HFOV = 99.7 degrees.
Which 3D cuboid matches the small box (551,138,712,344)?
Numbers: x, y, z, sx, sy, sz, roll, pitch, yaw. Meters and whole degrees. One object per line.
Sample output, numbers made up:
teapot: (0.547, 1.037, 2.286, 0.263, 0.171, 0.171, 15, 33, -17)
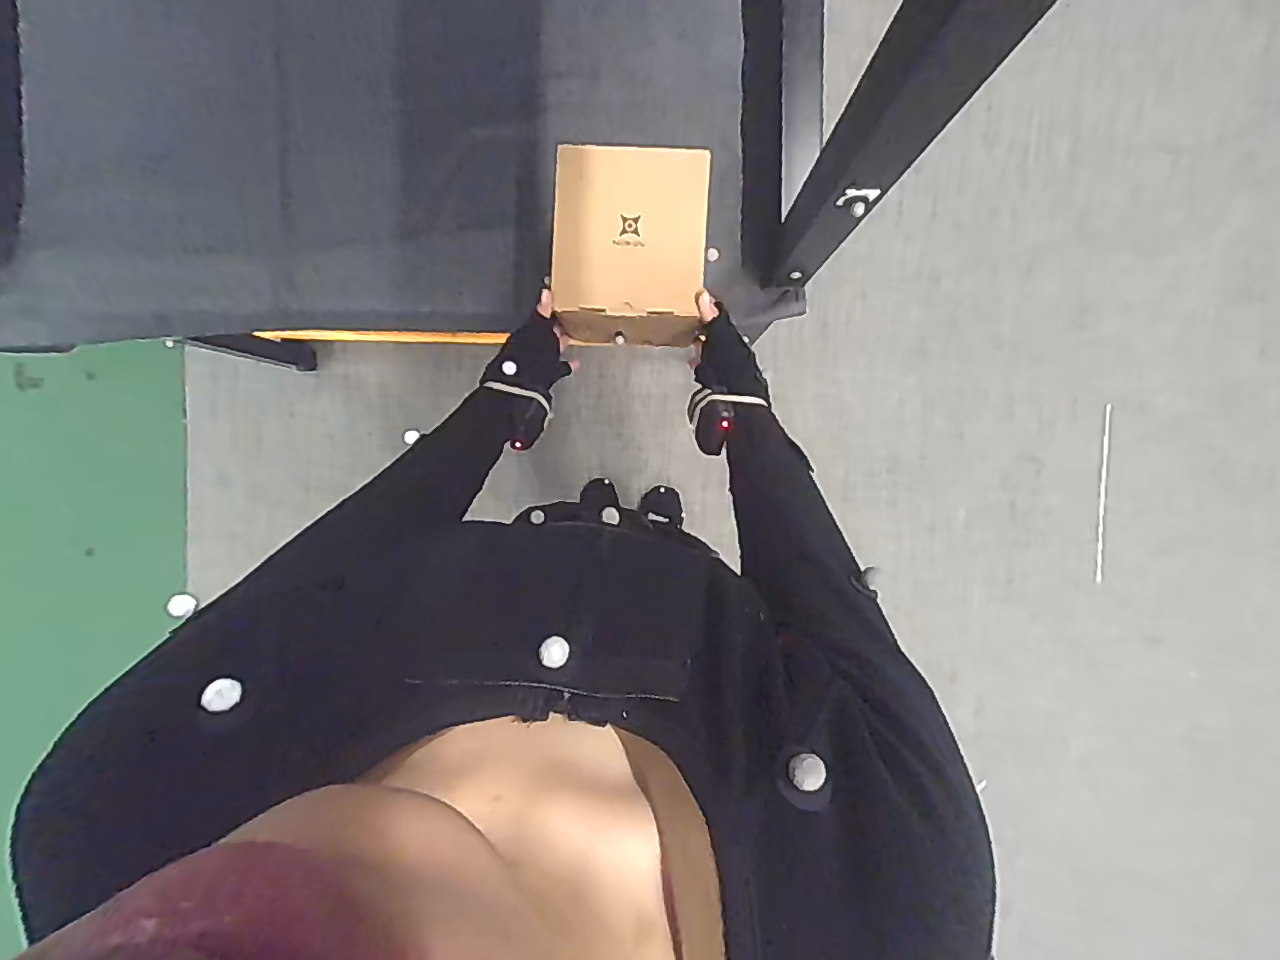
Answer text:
small box: (-0.008, -0.274, 0.652, 0.168, 0.176, 0.179, 3, 92, 2)
